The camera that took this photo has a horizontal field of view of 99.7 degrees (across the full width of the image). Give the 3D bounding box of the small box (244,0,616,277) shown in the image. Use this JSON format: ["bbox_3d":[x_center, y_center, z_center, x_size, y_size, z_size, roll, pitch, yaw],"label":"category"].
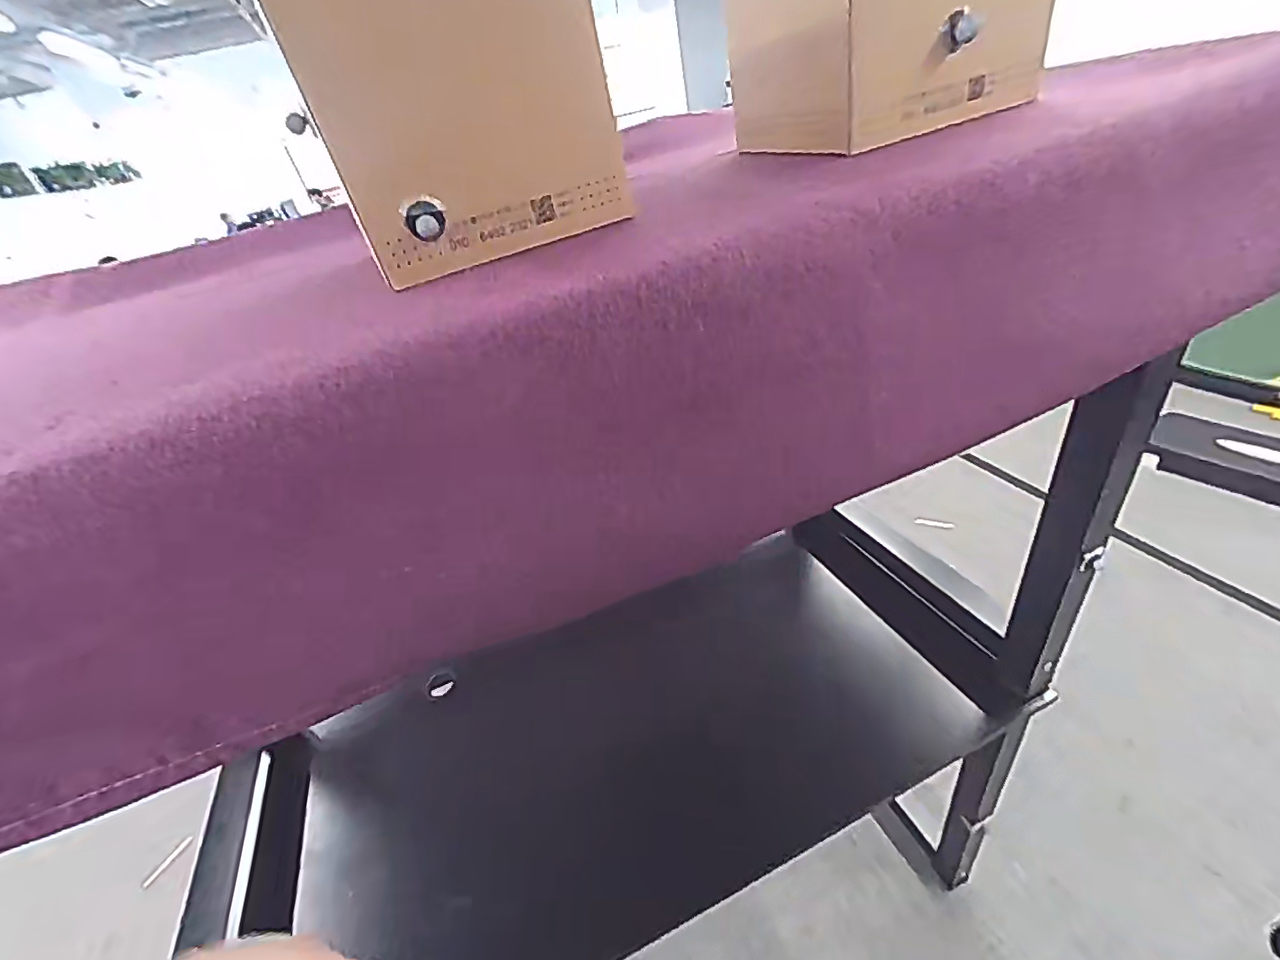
[{"bbox_3d":[-0.133,-0.247,0.357,0.168,0.176,0.179,-25,36,-16],"label":"small box"}]

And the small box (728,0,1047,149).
[{"bbox_3d":[0.173,-0.364,0.410,0.168,0.176,0.179,-21,35,-8],"label":"small box"}]
